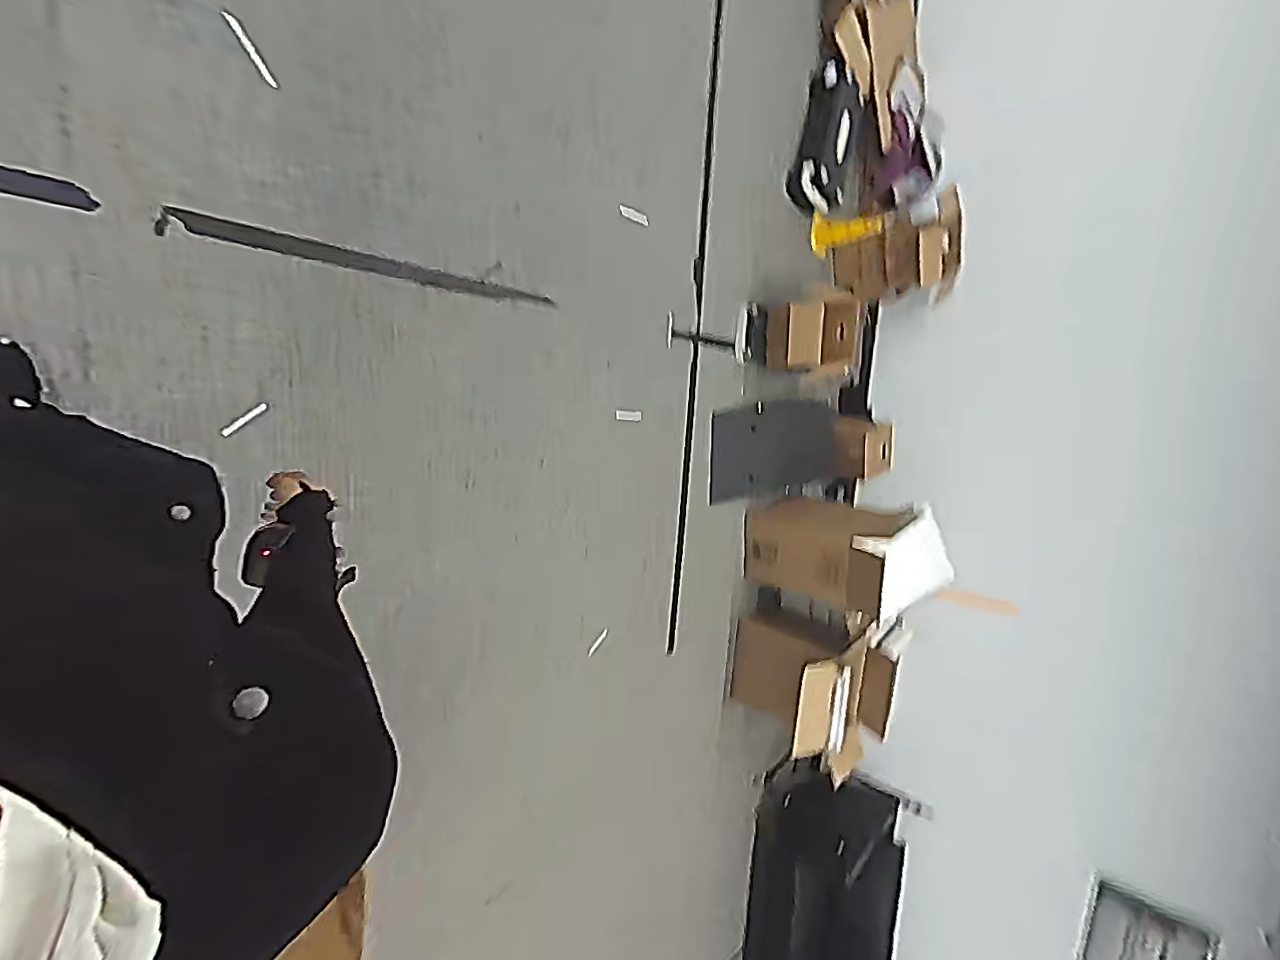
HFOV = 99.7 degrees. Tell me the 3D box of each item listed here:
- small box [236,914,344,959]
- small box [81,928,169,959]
[{"bbox_3d":[-0.650,0.979,1.006,0.168,0.176,0.179,-7,104,-46],"label":"small box"},{"bbox_3d":[-0.931,0.955,0.944,0.168,0.176,0.179,-1,99,-48],"label":"small box"}]
